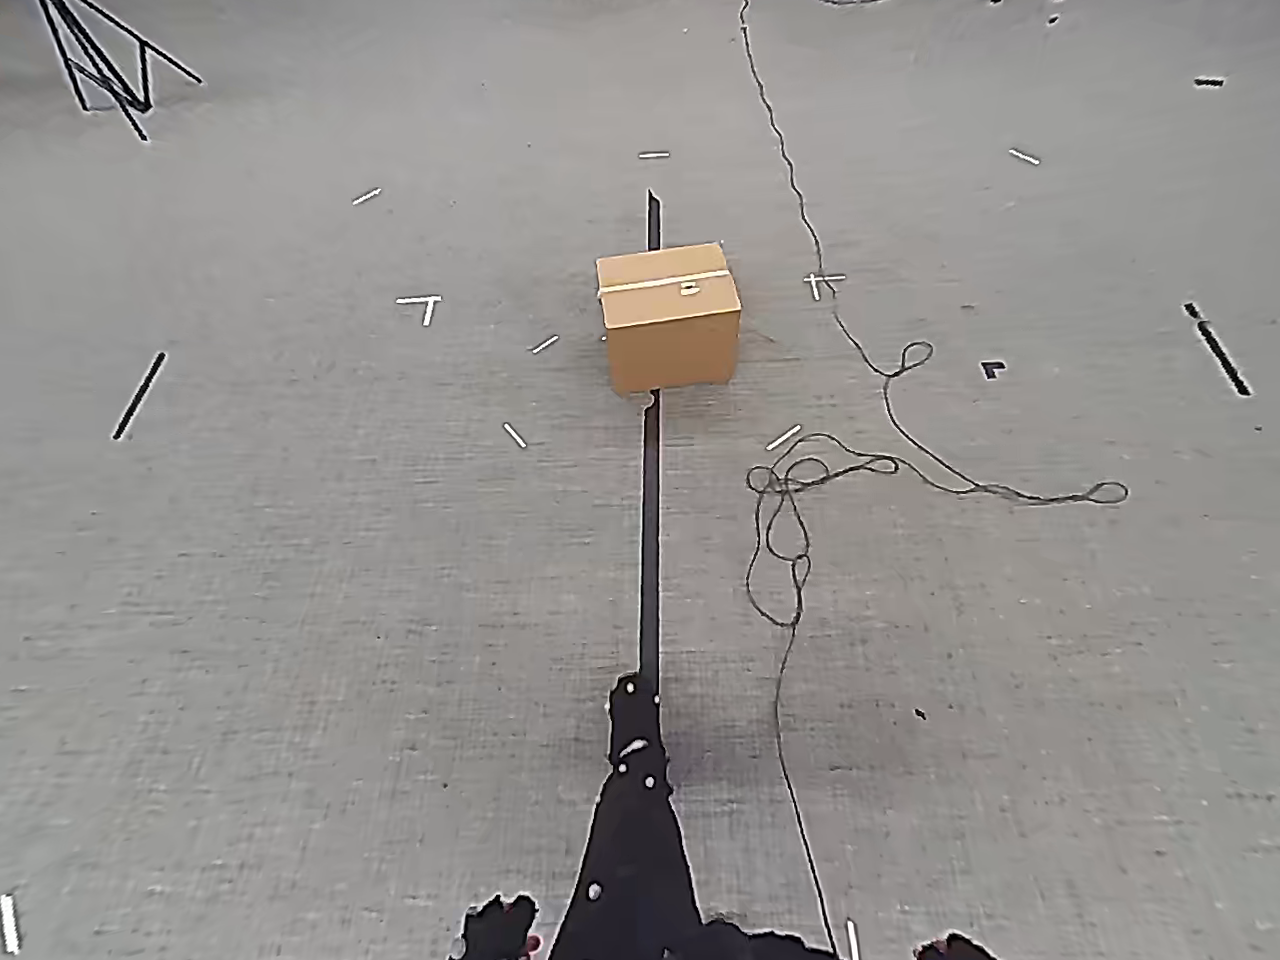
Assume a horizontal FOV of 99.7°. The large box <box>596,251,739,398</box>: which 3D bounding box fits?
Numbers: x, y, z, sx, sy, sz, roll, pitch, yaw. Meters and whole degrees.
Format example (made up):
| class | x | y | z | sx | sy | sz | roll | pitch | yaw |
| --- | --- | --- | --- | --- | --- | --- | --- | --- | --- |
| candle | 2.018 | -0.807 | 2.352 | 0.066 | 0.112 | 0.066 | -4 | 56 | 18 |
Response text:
| class | x | y | z | sx | sy | sz | roll | pitch | yaw |
| --- | --- | --- | --- | --- | --- | --- | --- | --- | --- |
| large box | 0.083 | -0.504 | 1.785 | 0.408 | 0.320 | 0.320 | -8 | 59 | -1 |
